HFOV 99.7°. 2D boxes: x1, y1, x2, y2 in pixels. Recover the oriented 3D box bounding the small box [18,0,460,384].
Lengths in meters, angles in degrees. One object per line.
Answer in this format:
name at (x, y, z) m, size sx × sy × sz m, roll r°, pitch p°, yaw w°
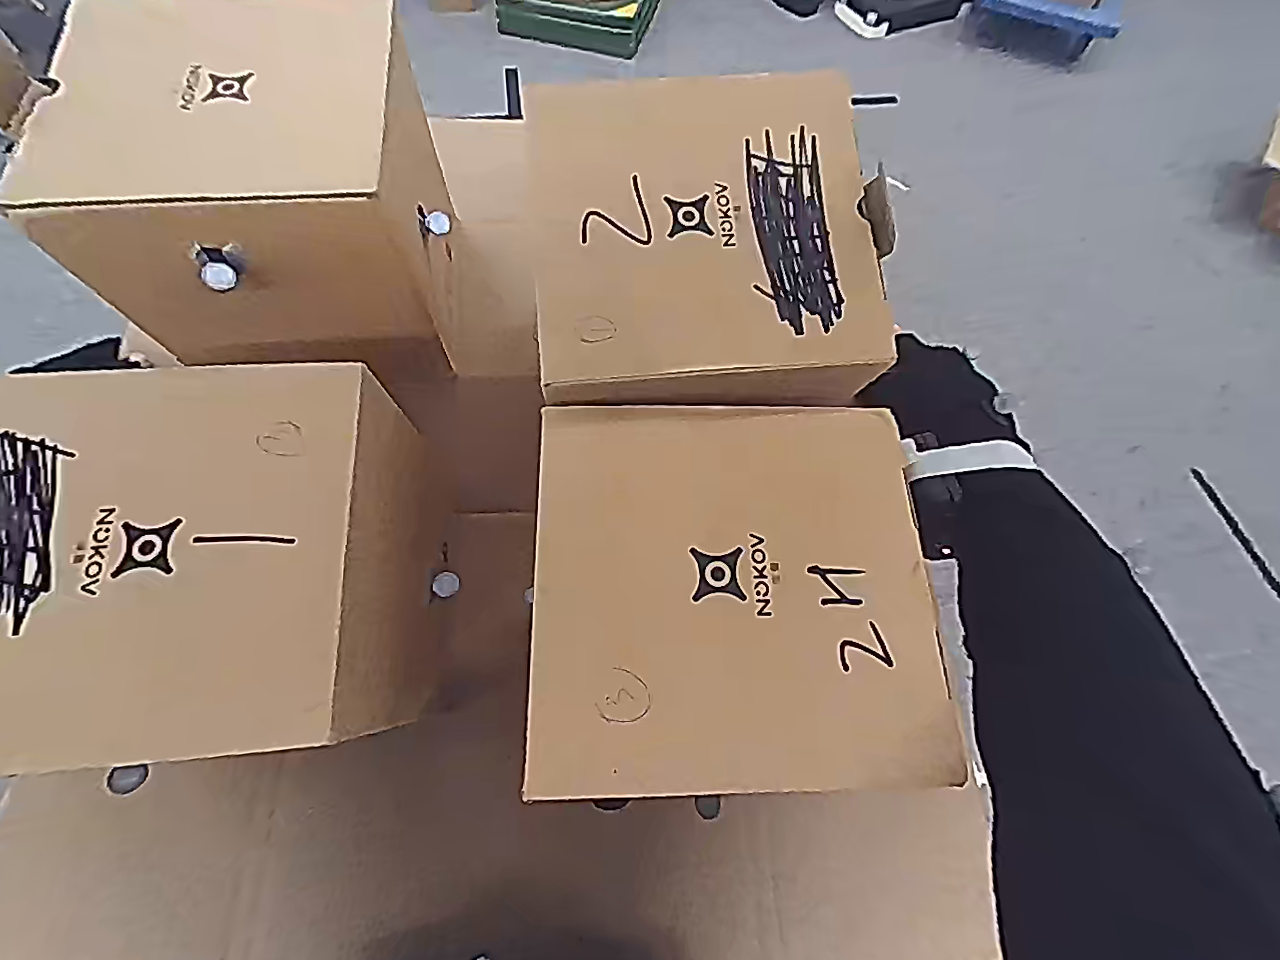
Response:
small box at (-0.230, -0.182, 0.372) m, size 0.179 × 0.176 × 0.168 m, roll -5°, pitch 69°, yaw -5°
